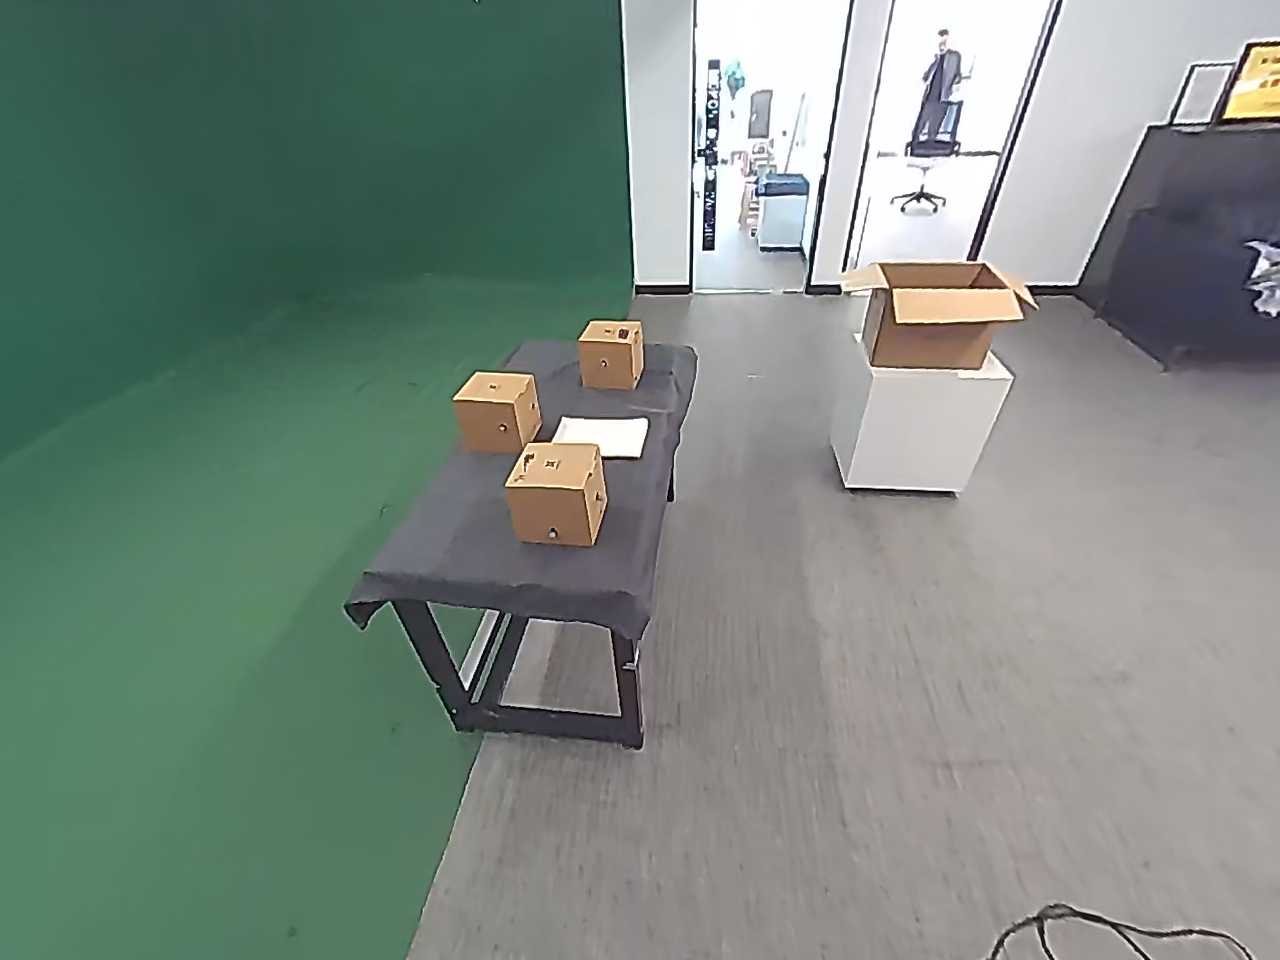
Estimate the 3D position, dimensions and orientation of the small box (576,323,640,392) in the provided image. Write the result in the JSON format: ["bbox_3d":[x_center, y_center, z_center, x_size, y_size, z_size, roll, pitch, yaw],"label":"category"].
[{"bbox_3d":[-0.099,-0.406,1.799,0.179,0.176,0.168,5,39,10],"label":"small box"}]

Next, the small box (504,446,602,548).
[{"bbox_3d":[-0.188,0.040,1.238,0.179,0.176,0.168,3,38,8],"label":"small box"}]

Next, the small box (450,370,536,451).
[{"bbox_3d":[-0.404,-0.195,1.526,0.179,0.176,0.168,4,38,8],"label":"small box"}]
